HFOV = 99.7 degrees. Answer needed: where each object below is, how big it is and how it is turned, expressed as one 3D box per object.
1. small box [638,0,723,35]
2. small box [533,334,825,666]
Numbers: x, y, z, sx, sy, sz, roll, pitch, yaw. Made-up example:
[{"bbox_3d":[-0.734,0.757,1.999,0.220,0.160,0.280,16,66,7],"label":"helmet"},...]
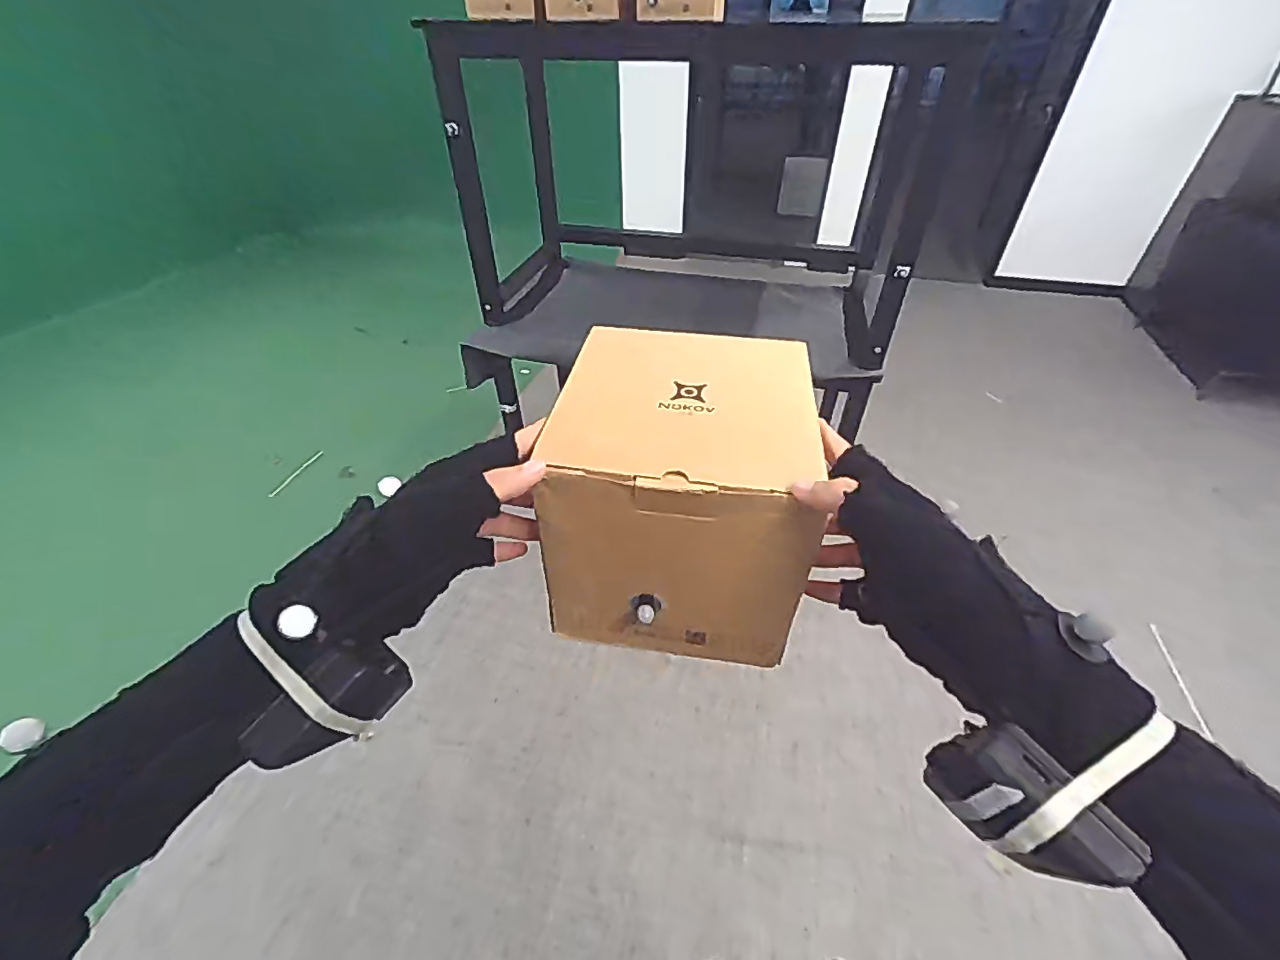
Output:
[{"bbox_3d":[0.089,-1.056,1.144,0.168,0.176,0.179,8,41,9],"label":"small box"},{"bbox_3d":[0.029,0.010,0.409,0.168,0.176,0.179,6,41,6],"label":"small box"}]
